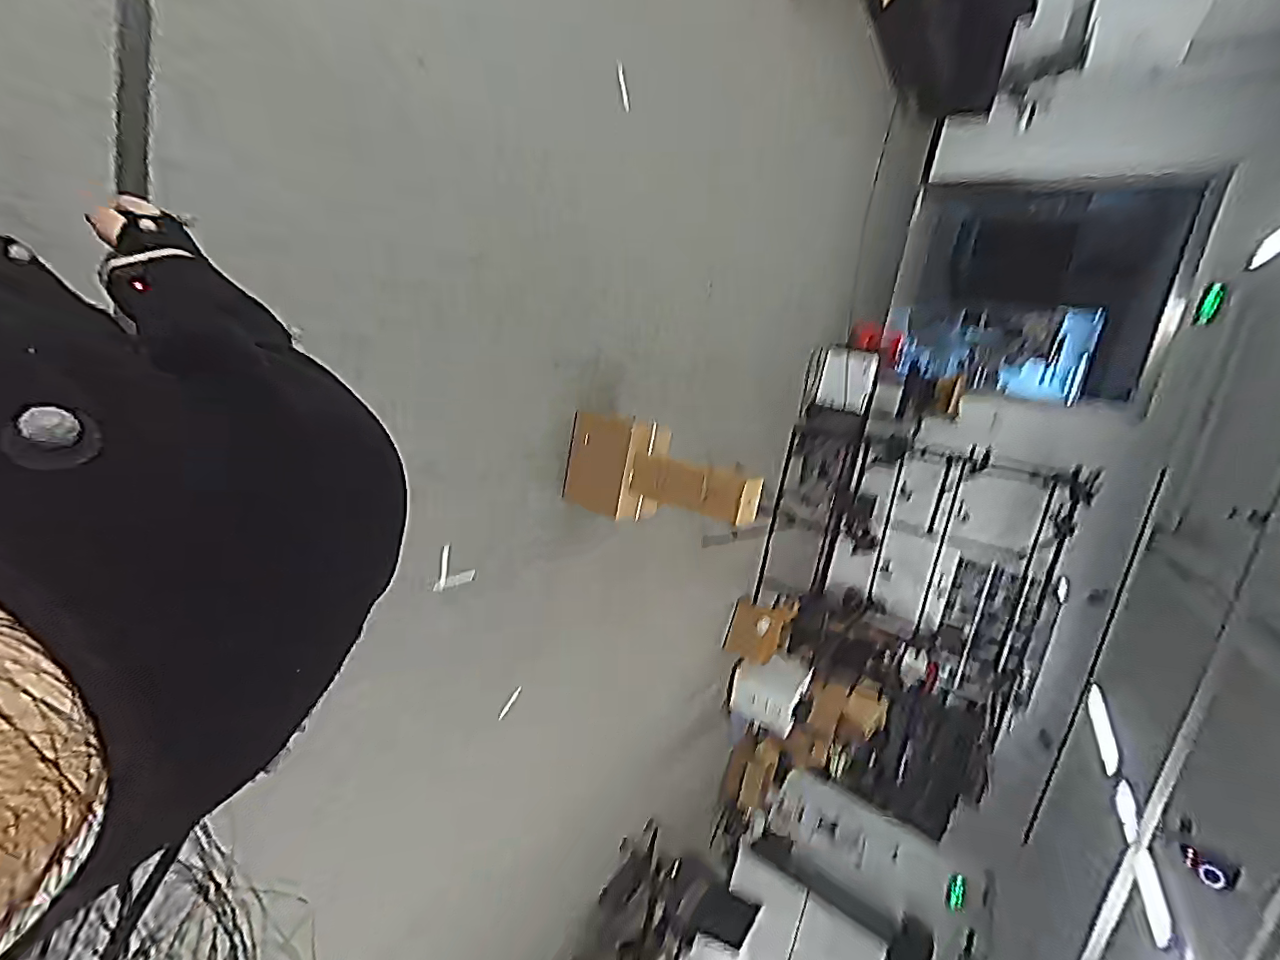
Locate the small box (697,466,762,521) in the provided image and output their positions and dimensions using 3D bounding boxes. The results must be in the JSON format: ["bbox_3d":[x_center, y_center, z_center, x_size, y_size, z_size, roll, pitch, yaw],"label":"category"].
[{"bbox_3d":[0.344,0.047,2.090,0.179,0.176,0.168,-7,110,-54],"label":"small box"}]

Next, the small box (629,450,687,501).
[{"bbox_3d":[0.074,-0.026,2.259,0.168,0.176,0.179,-8,112,-54],"label":"small box"}]
